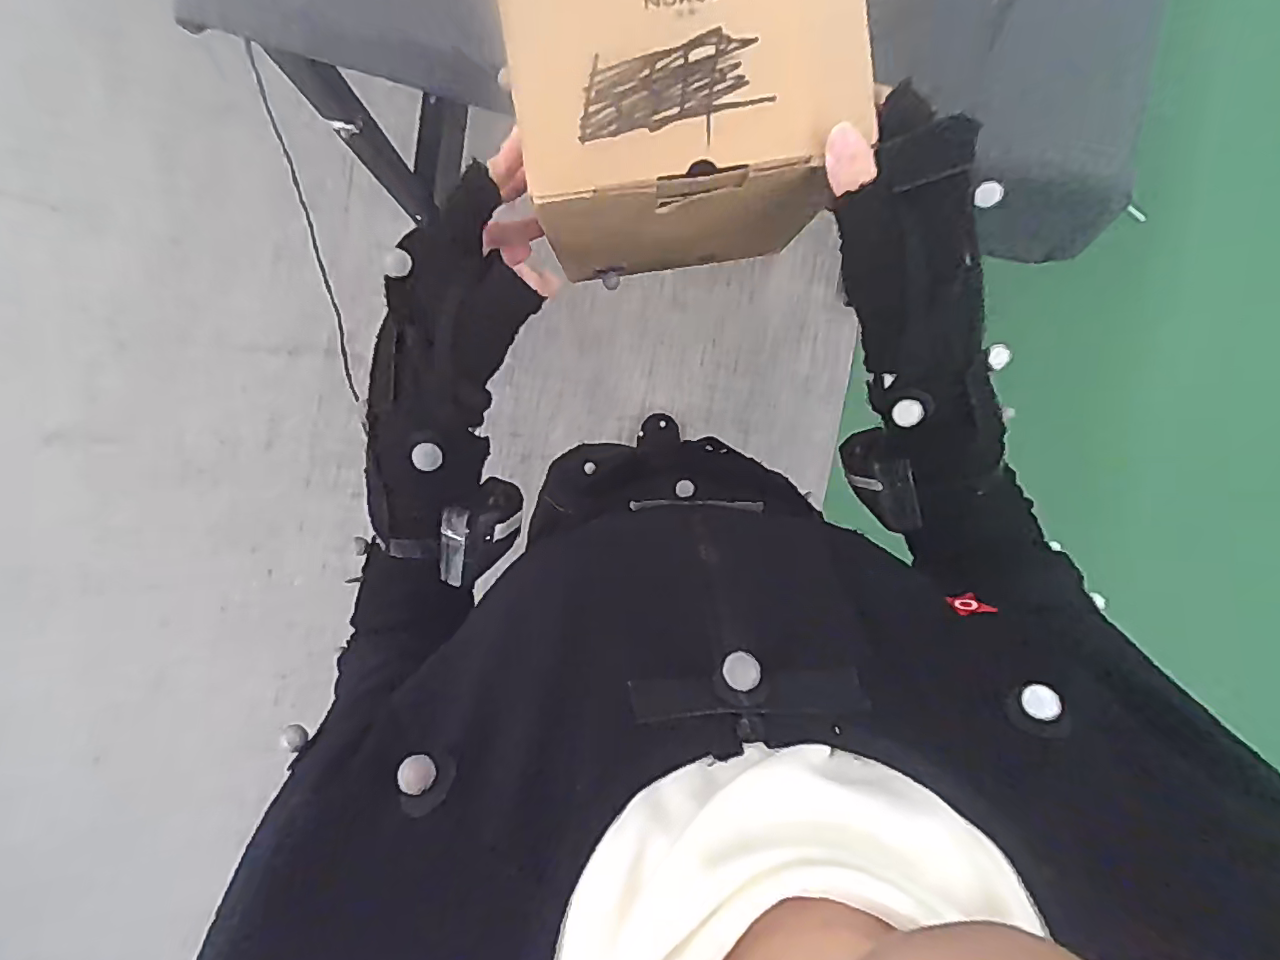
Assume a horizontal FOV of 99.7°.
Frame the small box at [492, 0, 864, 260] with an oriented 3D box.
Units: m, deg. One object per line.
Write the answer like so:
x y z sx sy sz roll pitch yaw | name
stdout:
0.013 -0.244 0.321 0.168 0.176 0.179 -8 97 1 | small box
